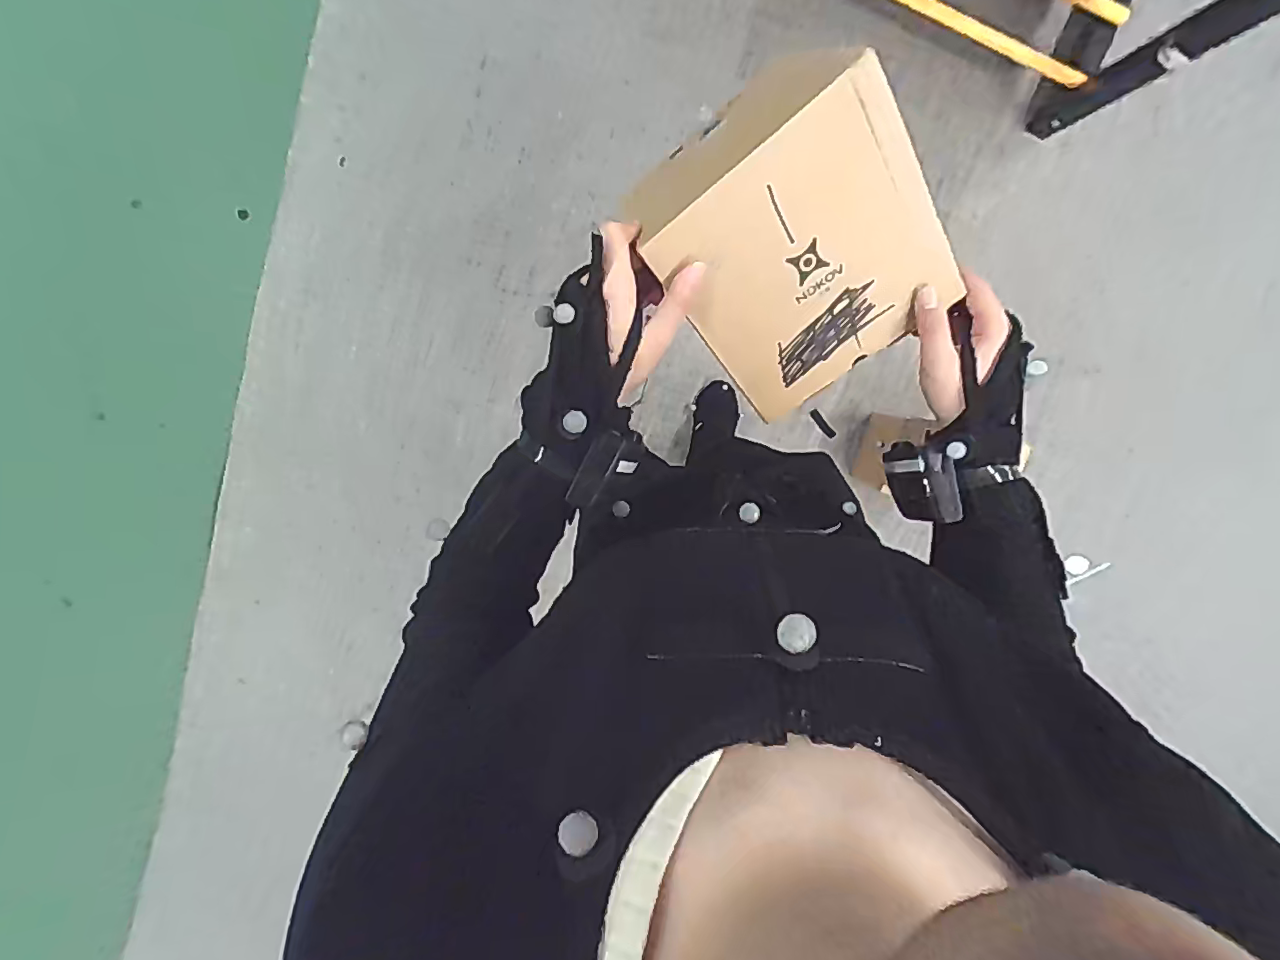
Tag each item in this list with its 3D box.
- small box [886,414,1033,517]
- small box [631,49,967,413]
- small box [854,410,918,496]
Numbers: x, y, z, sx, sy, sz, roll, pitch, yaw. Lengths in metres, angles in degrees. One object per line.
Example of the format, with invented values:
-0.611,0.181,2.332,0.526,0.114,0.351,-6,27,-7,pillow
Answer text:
0.658,-0.038,1.133,0.179,0.176,0.168,13,100,-5,small box
0.110,-0.194,0.424,0.168,0.176,0.179,-34,124,18,small box
0.642,-0.064,1.295,0.168,0.176,0.179,14,100,-5,small box
